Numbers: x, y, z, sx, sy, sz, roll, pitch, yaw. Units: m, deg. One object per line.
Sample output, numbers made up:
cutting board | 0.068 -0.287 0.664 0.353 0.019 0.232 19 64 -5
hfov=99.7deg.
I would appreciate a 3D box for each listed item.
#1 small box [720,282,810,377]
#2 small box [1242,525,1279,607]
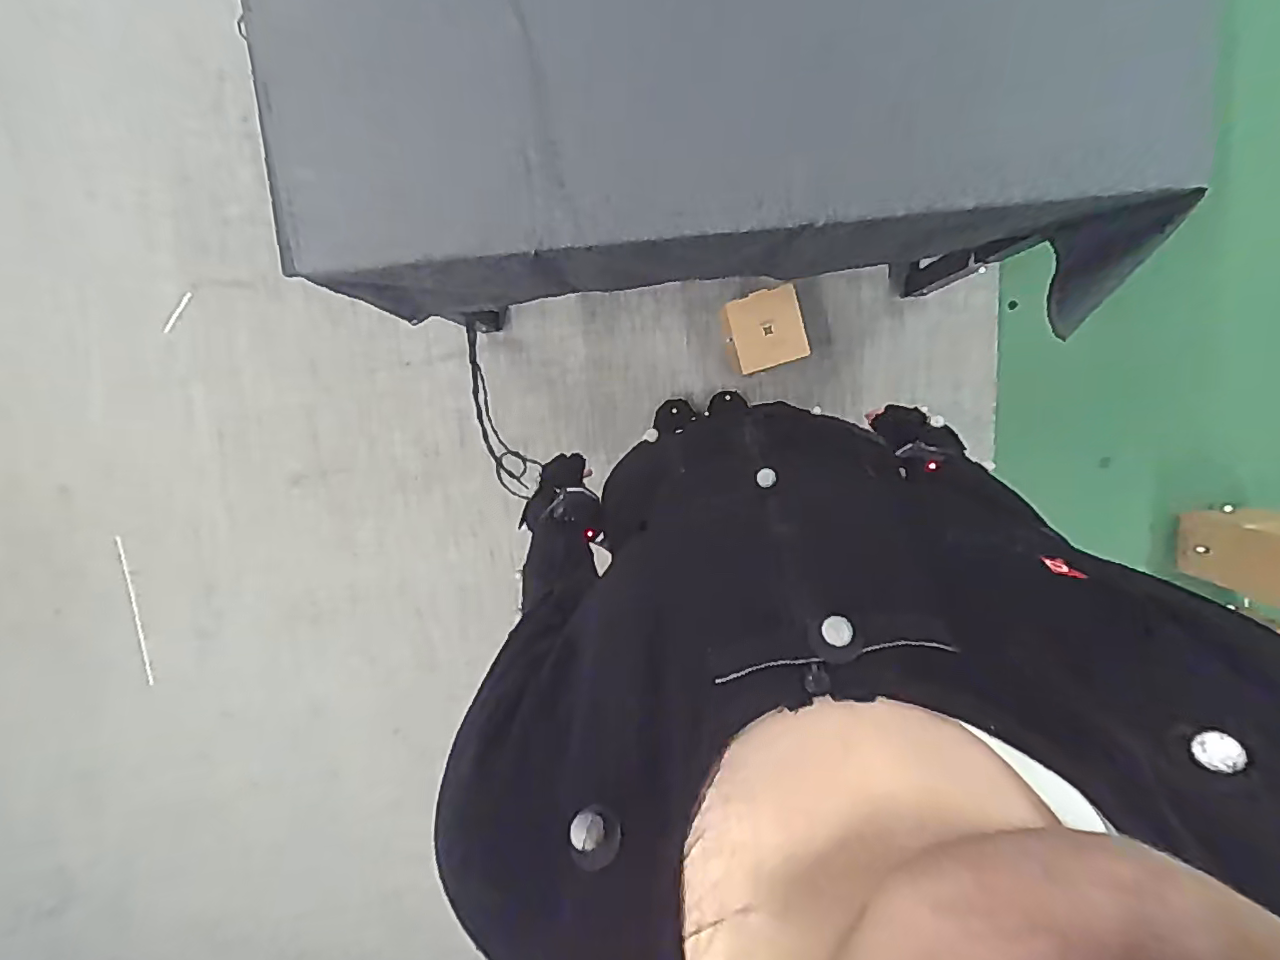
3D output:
small box | 0.301 -0.364 1.342 0.168 0.176 0.179 -16 96 5
small box | 1.492 0.195 1.186 0.168 0.176 0.179 -6 98 4
